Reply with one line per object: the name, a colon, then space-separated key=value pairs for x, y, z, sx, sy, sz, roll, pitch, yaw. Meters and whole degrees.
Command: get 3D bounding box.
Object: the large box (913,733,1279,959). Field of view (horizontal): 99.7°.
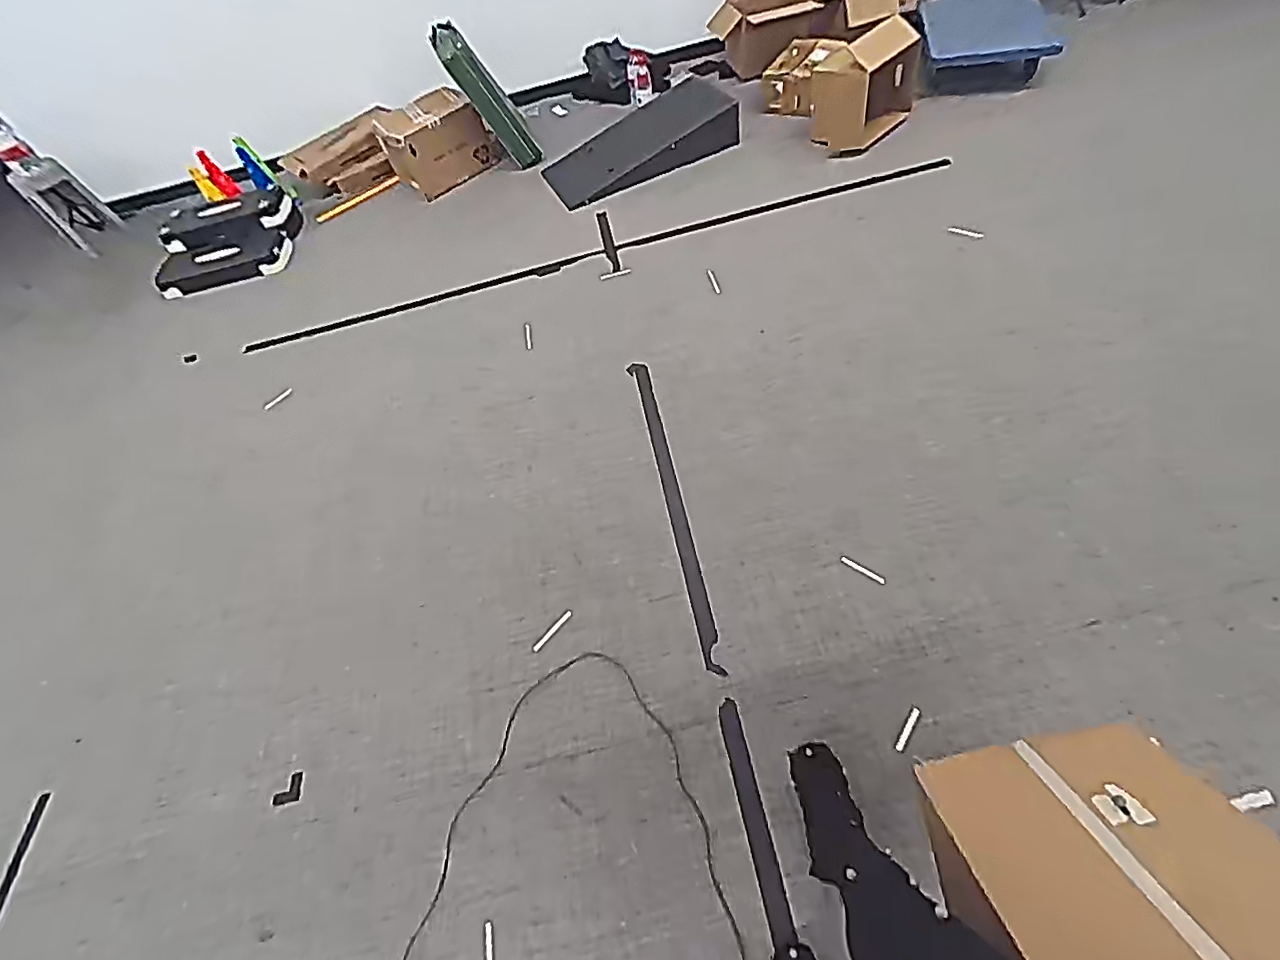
large box: x=0.600 y=0.594 z=0.650 sx=0.320 sy=0.408 sz=0.320 roll=-15 pitch=99 yaw=6
